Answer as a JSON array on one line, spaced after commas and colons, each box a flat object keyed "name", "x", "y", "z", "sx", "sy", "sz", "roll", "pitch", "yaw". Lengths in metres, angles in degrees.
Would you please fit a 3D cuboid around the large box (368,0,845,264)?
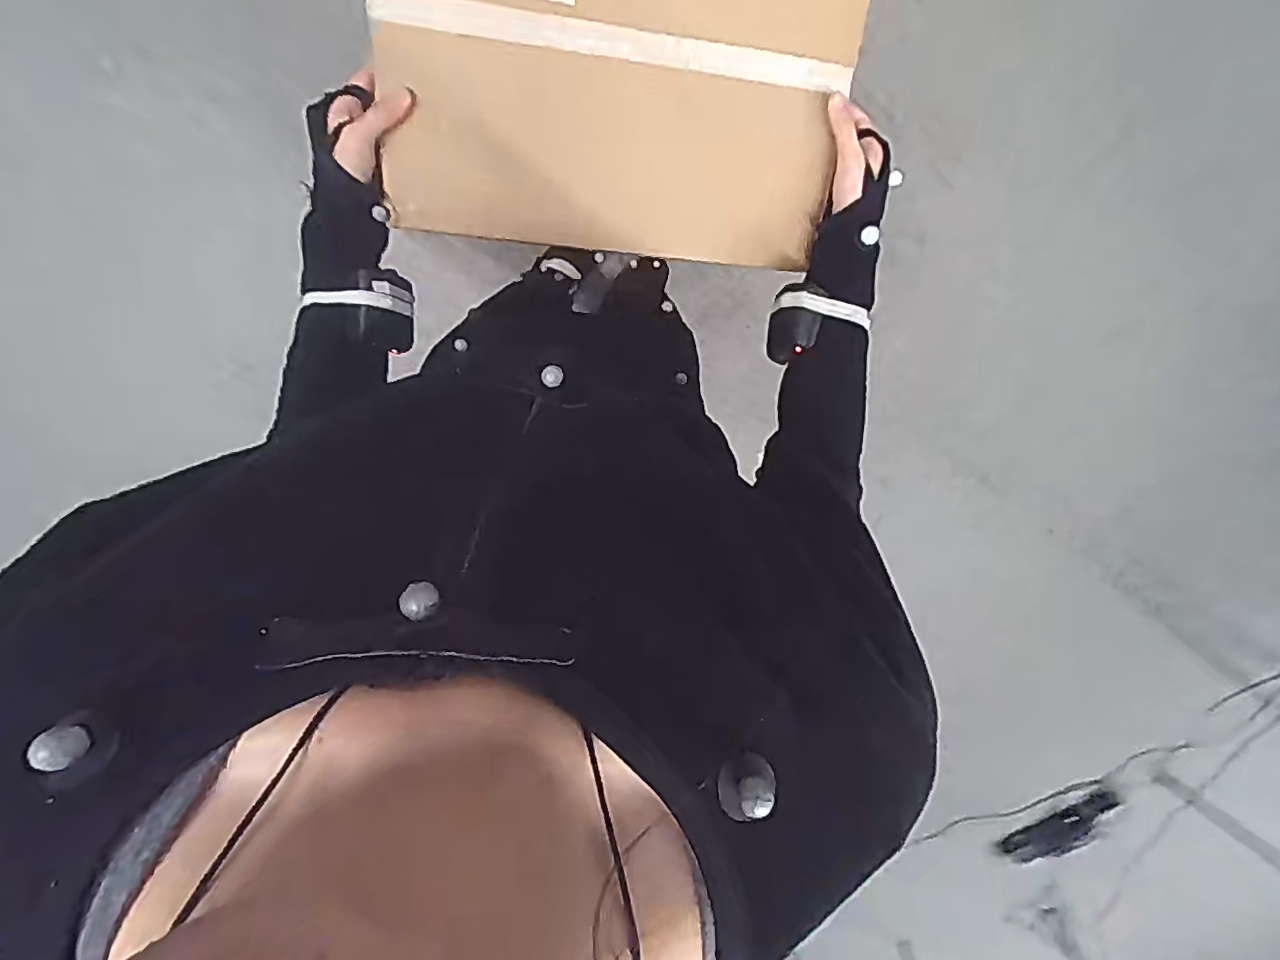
[{"name": "large box", "x": -0.039, "y": -0.426, "z": 0.599, "sx": 0.408, "sy": 0.320, "sz": 0.320, "roll": 1, "pitch": 114, "yaw": -9}]
